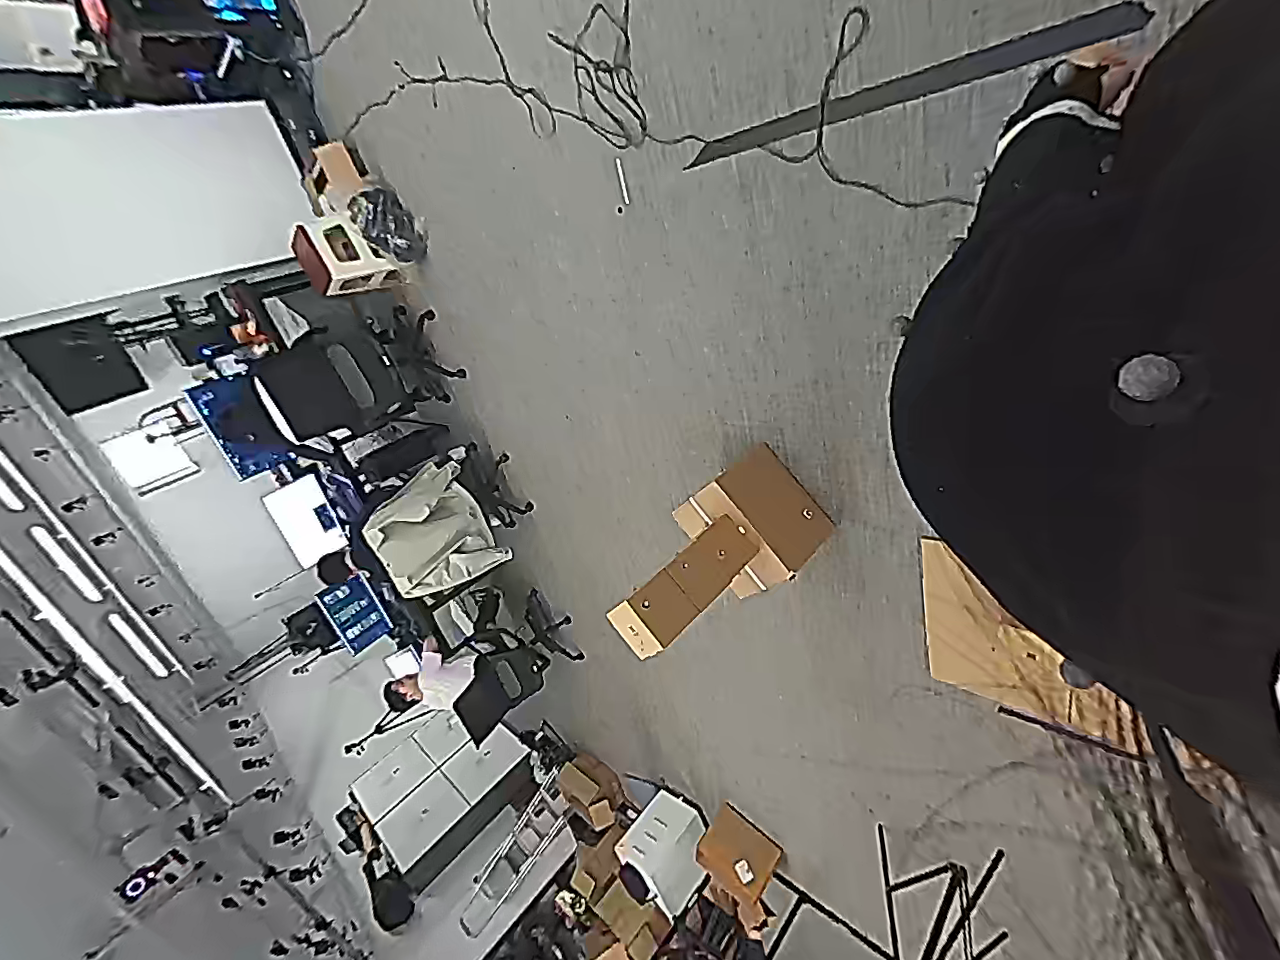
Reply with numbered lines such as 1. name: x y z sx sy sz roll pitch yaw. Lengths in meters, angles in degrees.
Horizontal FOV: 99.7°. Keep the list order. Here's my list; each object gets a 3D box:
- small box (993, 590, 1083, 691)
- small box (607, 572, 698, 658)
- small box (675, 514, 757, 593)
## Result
1. small box: 1.104 0.436 1.499 0.168 0.176 0.179 14 128 40
2. small box: 0.037 0.397 1.618 0.179 0.176 0.168 51 145 7
3. small box: 0.256 0.244 1.812 0.179 0.176 0.168 51 144 8
